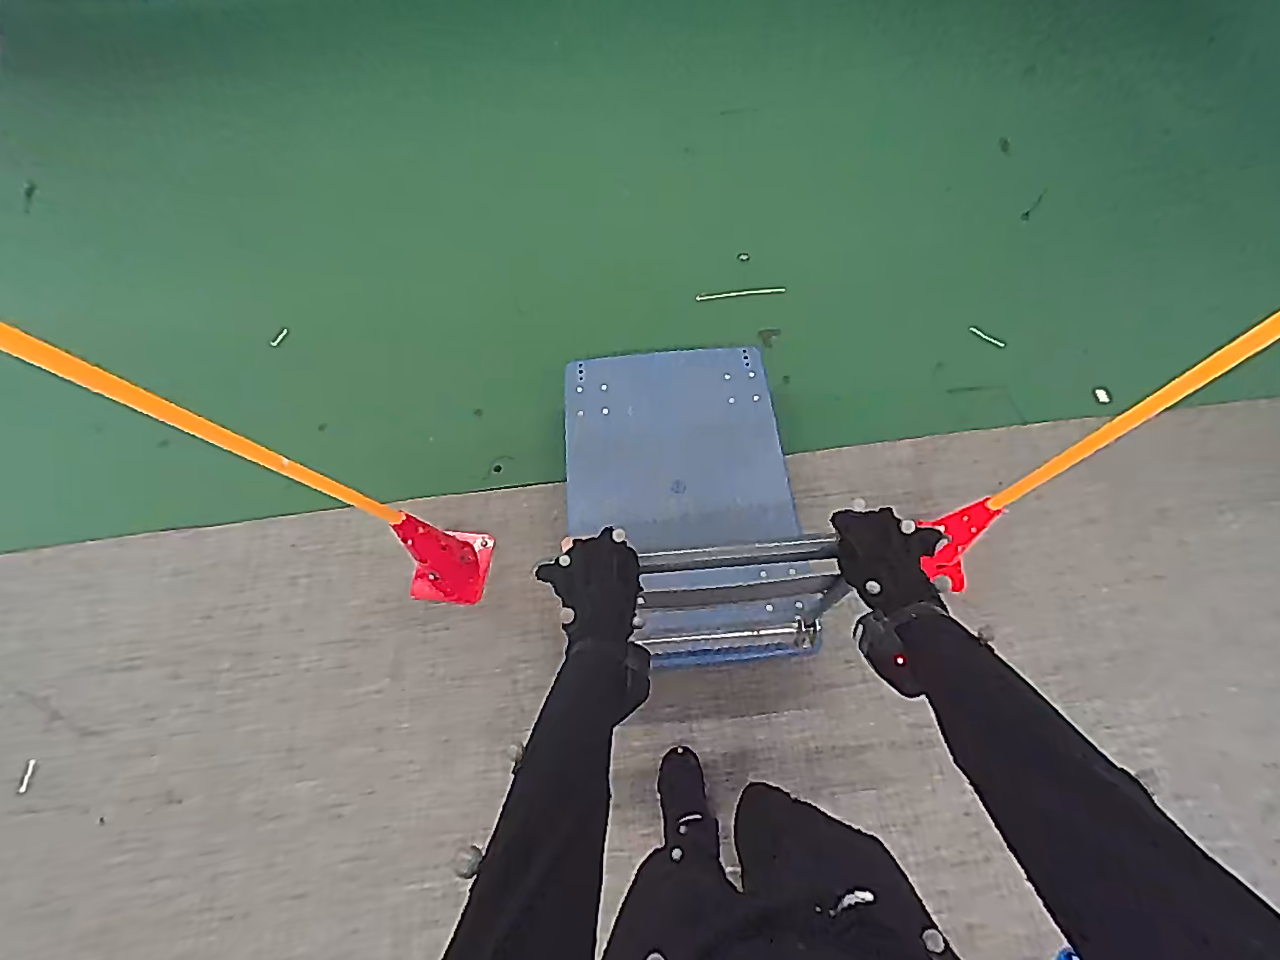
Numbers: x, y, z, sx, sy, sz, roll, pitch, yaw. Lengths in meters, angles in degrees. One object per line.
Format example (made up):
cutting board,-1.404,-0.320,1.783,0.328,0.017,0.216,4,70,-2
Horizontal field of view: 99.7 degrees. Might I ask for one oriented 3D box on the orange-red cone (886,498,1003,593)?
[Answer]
orange-red cone,0.767,0.132,1.311,0.198,0.360,0.199,3,65,4
